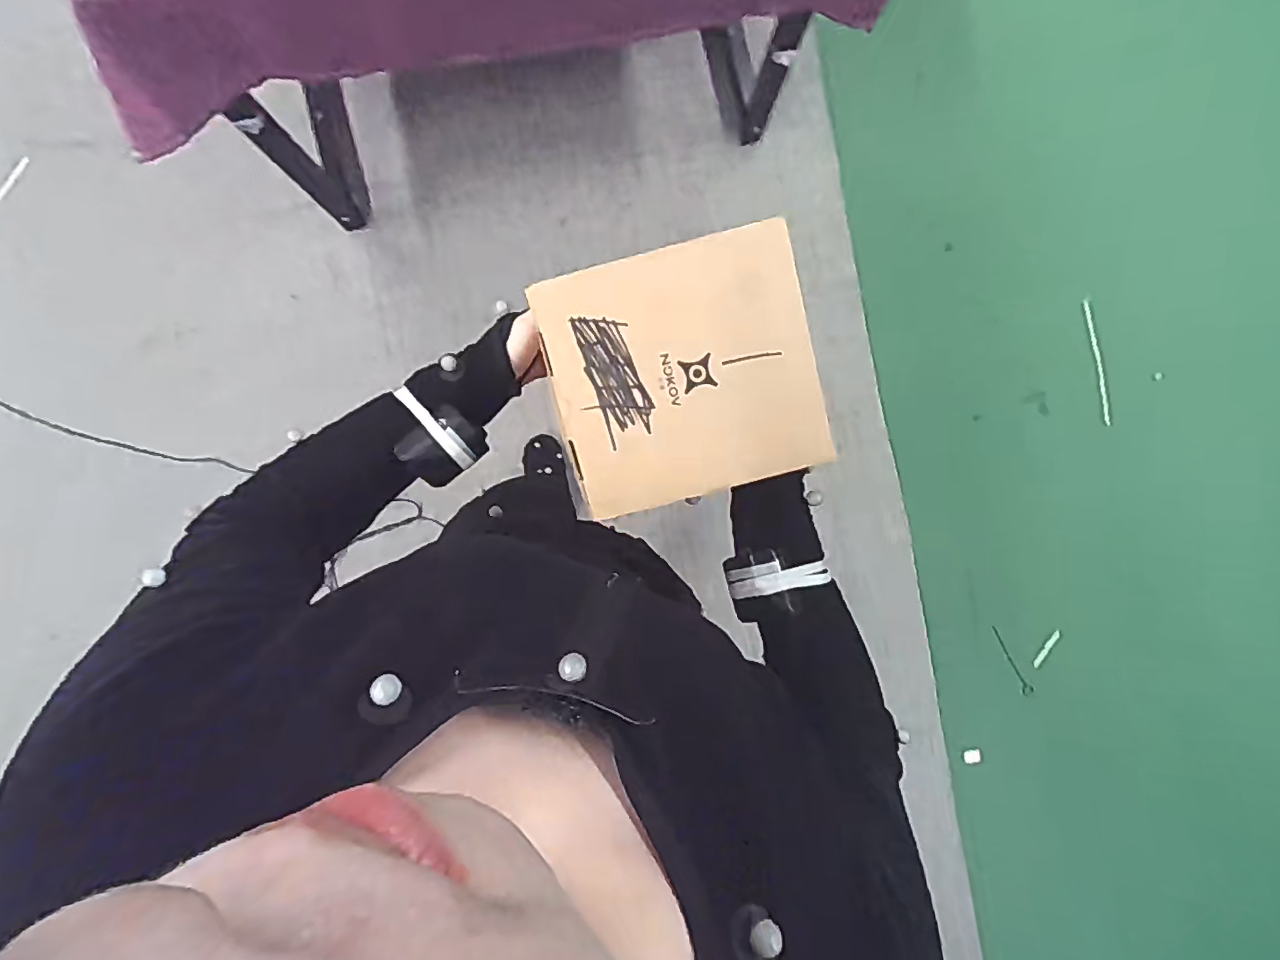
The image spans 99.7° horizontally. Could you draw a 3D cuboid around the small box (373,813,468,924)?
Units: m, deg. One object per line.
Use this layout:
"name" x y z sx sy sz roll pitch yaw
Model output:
"small box" -0.555 0.990 1.390 0.179 0.176 0.168 6 89 -2
